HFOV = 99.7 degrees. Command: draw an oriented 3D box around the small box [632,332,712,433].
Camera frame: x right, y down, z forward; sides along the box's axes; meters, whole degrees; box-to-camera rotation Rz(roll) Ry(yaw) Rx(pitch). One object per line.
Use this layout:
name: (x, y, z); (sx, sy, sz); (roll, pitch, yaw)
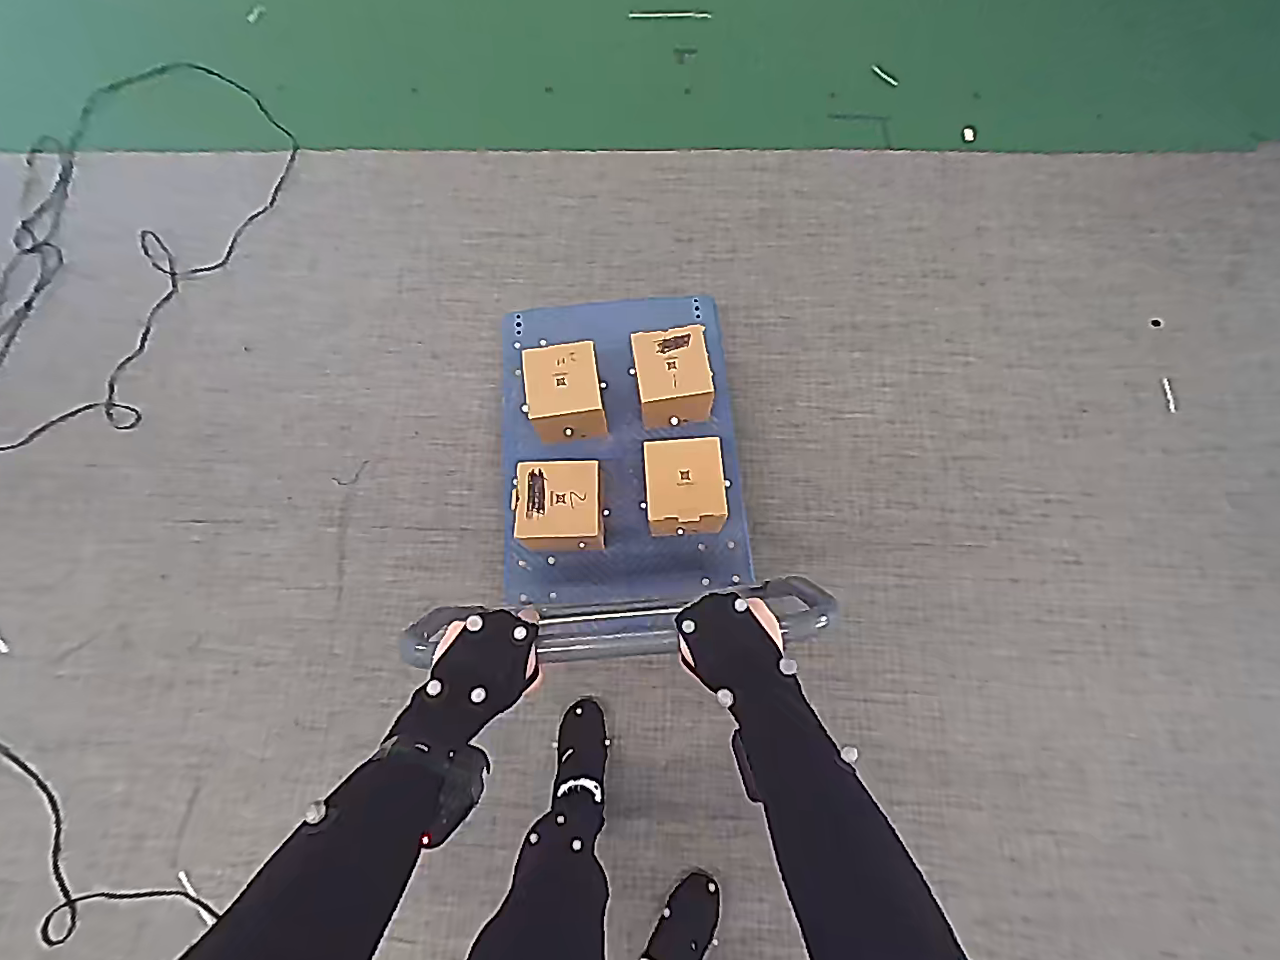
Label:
small box: (0.074, -0.231, 1.313); (0.168, 0.176, 0.179); (-9, 74, 0)

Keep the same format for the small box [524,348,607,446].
small box: (-0.175, -0.192, 1.310); (0.168, 0.176, 0.179); (-8, 73, -2)

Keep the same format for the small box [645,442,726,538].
small box: (0.097, 0.027, 1.236); (0.168, 0.176, 0.179); (-4, 74, 0)
